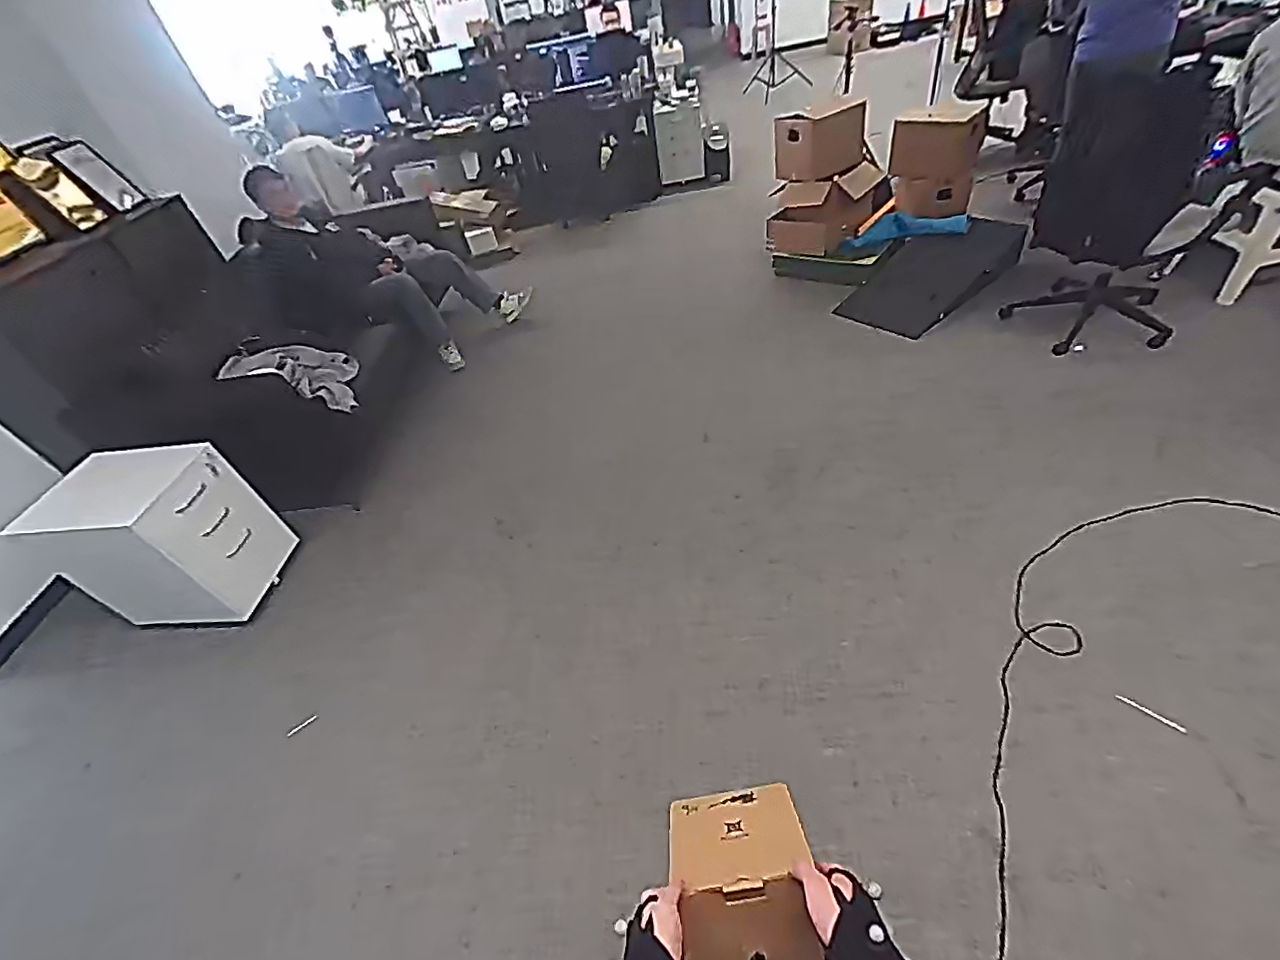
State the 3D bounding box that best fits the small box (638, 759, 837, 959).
[{"bbox_3d":[0.123,0.501,0.695,0.179,0.176,0.168,-12,-2,-26],"label":"small box"}]
